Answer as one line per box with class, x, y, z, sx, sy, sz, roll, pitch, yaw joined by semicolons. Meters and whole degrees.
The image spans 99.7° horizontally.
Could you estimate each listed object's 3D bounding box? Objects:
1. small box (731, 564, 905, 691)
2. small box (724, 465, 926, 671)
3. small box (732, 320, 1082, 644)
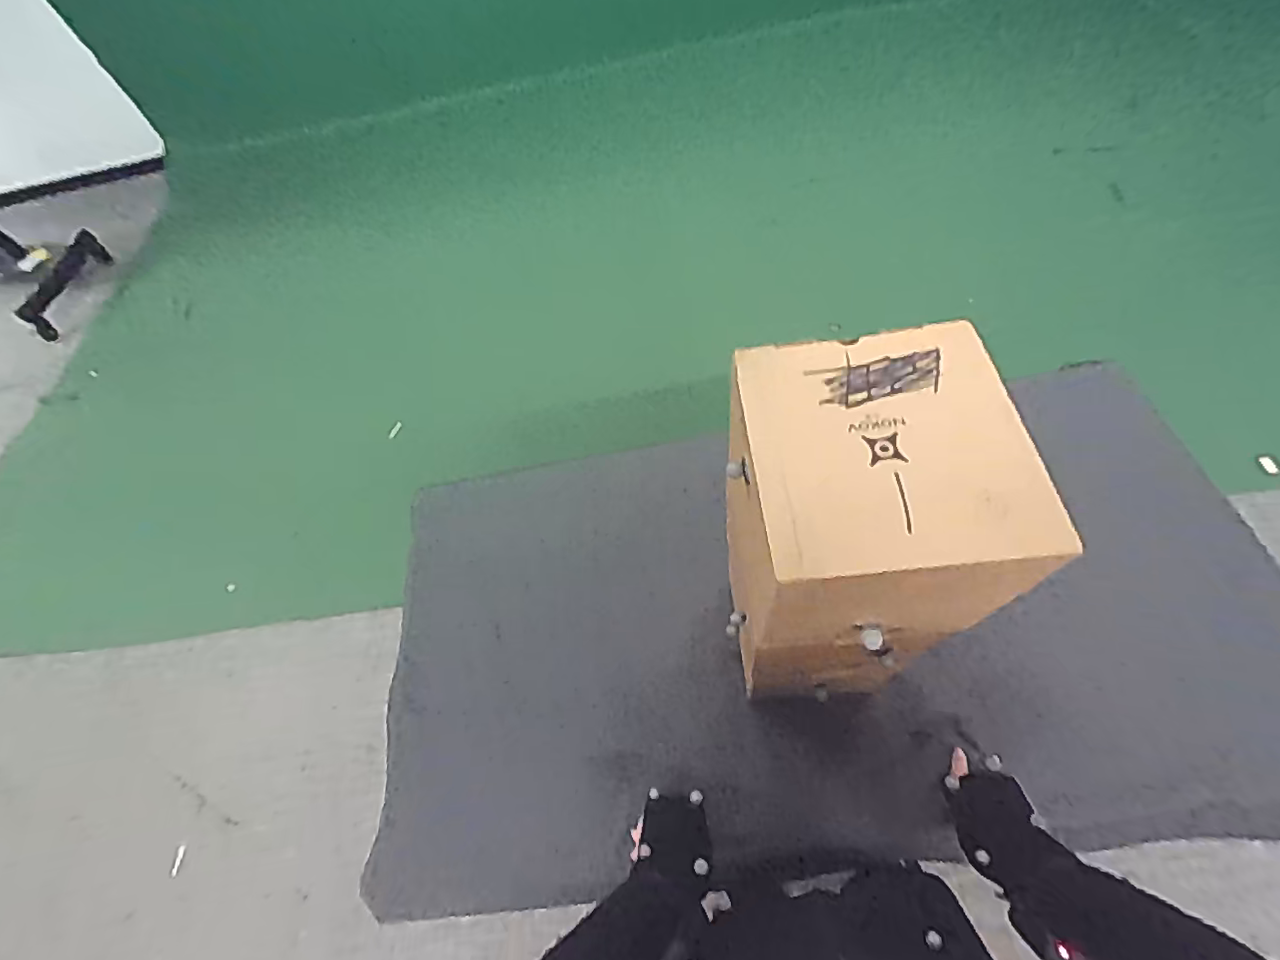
small box;0.210;0.166;0.688;0.168;0.176;0.179;-8;60;6
small box;0.182;0.088;0.548;0.168;0.176;0.179;-8;59;4
small box;0.161;0.012;0.404;0.168;0.176;0.179;-7;61;6
